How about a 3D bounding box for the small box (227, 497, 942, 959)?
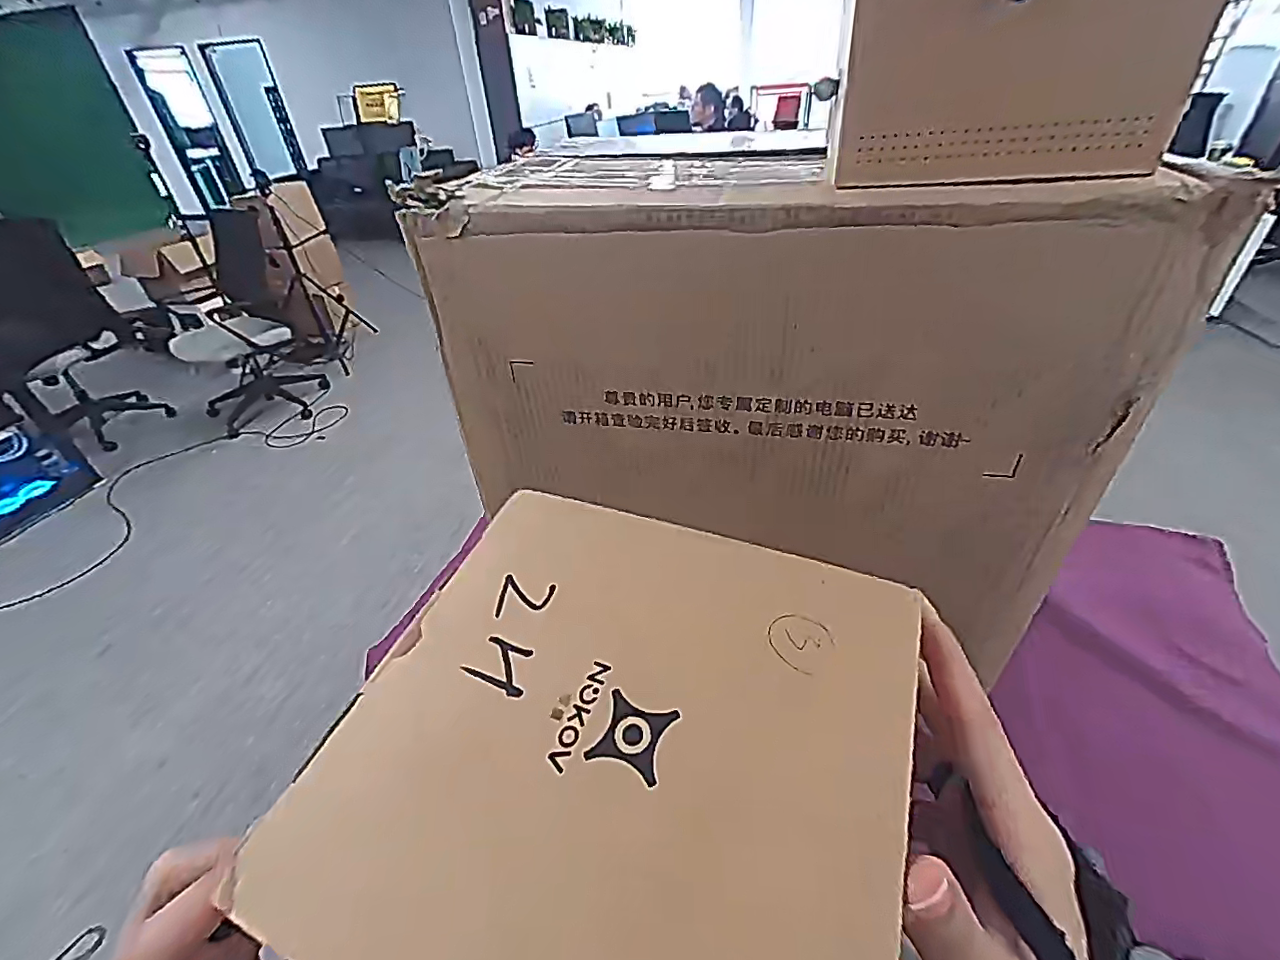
[{"bbox_3d":[0.002,0.137,0.226,0.179,0.176,0.168,13,47,20],"label":"small box"}]
